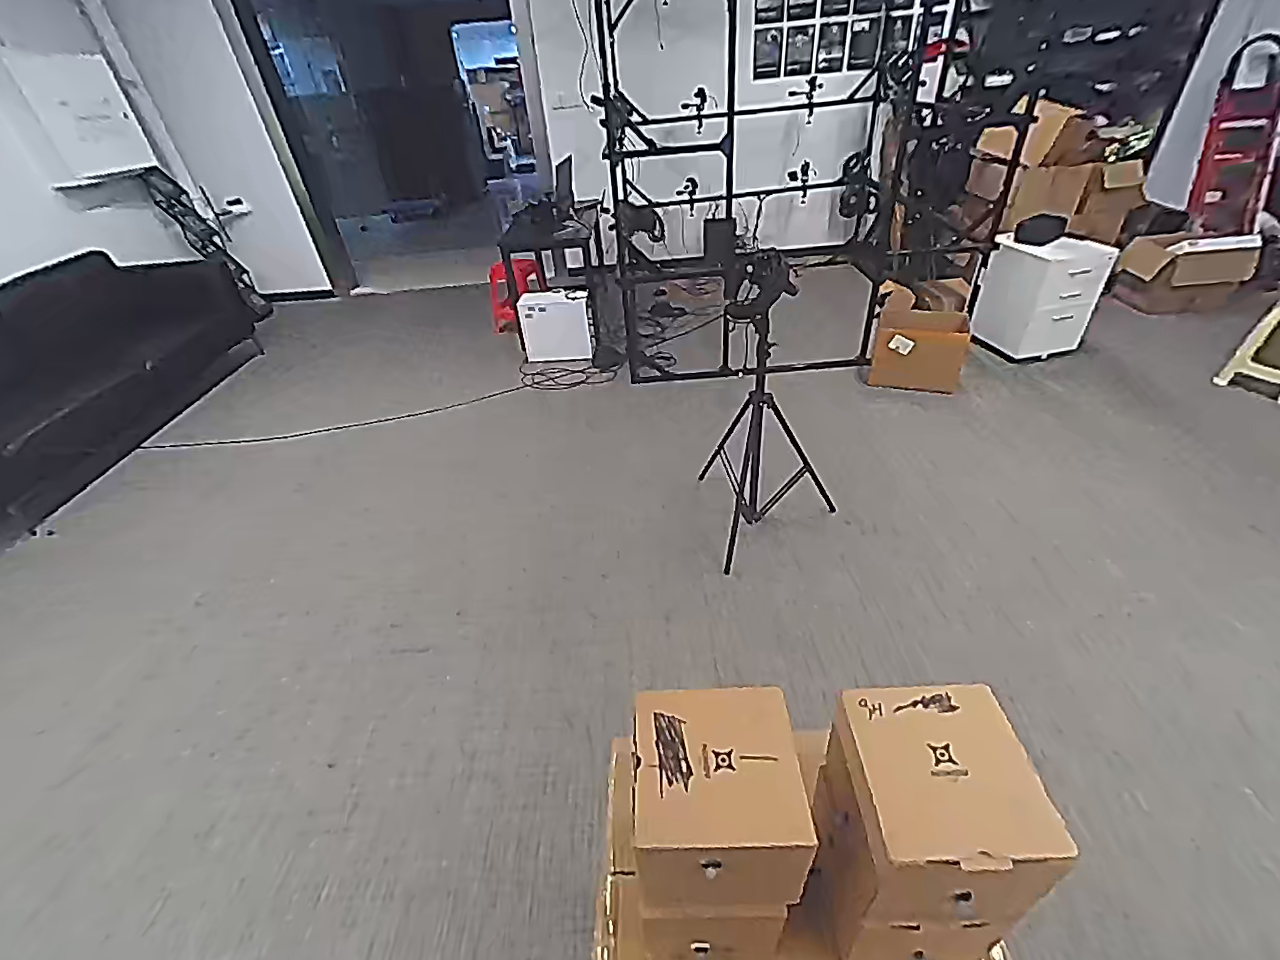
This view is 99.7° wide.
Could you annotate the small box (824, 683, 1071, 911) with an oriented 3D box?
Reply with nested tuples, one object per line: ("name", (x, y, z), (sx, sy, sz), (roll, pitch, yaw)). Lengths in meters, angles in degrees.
("small box", (0.313, 0.351, 0.599), (0.168, 0.176, 0.179), (-3, 38, 4))

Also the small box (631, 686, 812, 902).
("small box", (0.084, 0.361, 0.623), (0.179, 0.176, 0.168), (-3, 37, 2))

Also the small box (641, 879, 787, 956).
("small box", (0.088, 0.496, 0.717), (0.168, 0.176, 0.179), (-4, 38, 3))

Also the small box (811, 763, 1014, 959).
("small box", (0.326, 0.486, 0.694), (0.168, 0.176, 0.179), (-5, 37, 4))
